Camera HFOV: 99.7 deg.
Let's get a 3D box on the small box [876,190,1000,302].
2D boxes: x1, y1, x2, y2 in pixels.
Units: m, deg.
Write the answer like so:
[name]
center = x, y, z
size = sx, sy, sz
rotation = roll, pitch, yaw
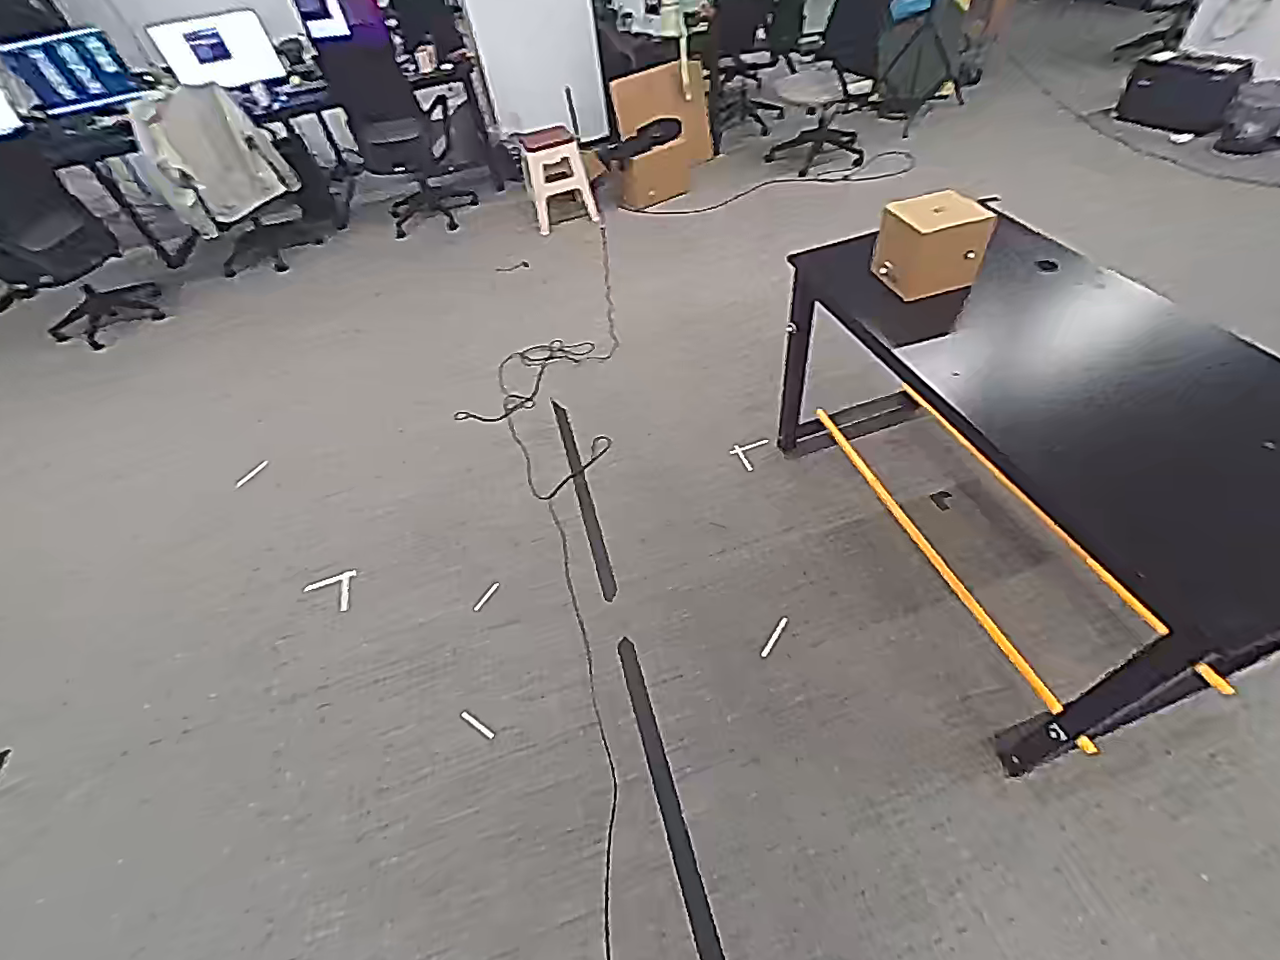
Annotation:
[small box]
center = 0.687, -0.548, 1.273
size = 0.179, 0.176, 0.168
rotation = -16, 48, -4
